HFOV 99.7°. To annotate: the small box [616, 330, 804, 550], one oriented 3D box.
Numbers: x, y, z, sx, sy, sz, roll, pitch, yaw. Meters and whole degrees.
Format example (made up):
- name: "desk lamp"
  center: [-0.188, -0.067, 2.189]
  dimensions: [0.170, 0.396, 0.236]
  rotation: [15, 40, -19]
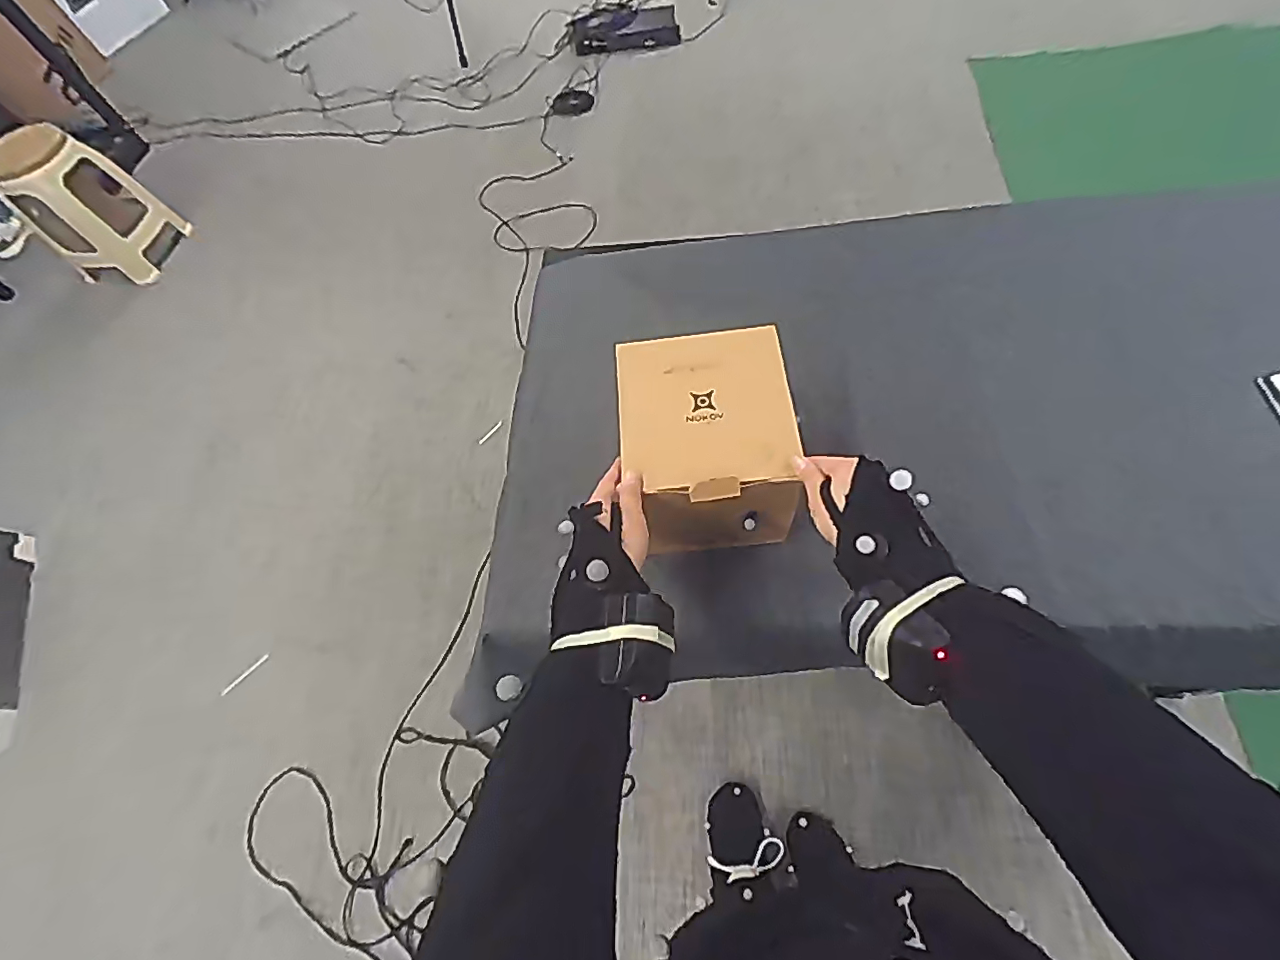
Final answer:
- name: "small box"
  center: [0.069, -0.031, 0.585]
  dimensions: [0.168, 0.176, 0.179]
  rotation: [-6, 61, 4]
